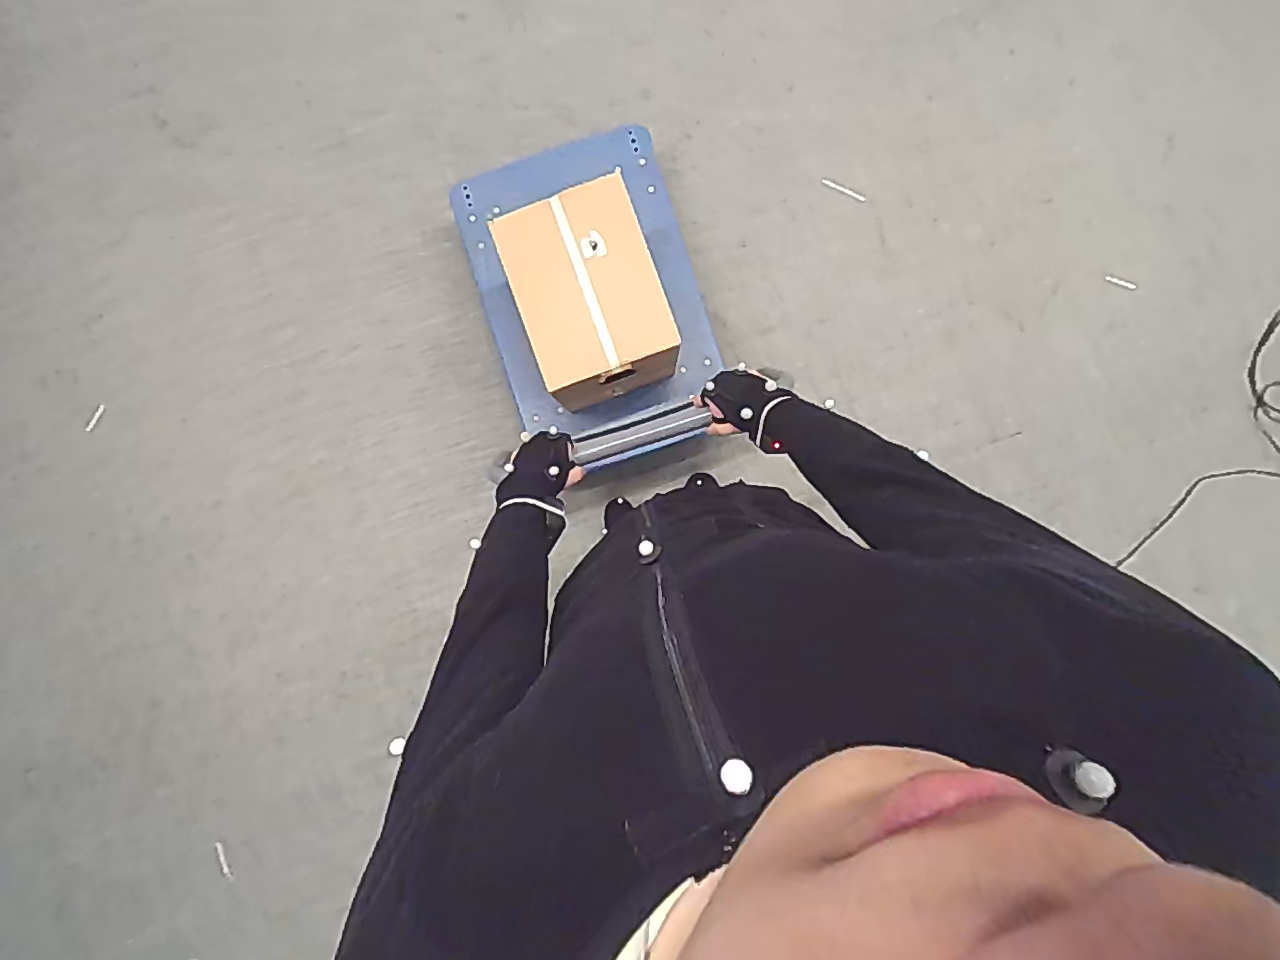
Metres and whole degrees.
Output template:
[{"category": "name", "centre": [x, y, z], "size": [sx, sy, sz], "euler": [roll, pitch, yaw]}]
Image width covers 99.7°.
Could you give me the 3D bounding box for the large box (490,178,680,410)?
[{"category": "large box", "centre": [-0.115, -0.428, 1.338], "size": [0.320, 0.320, 0.408], "euler": [-20, 89, 1]}]
